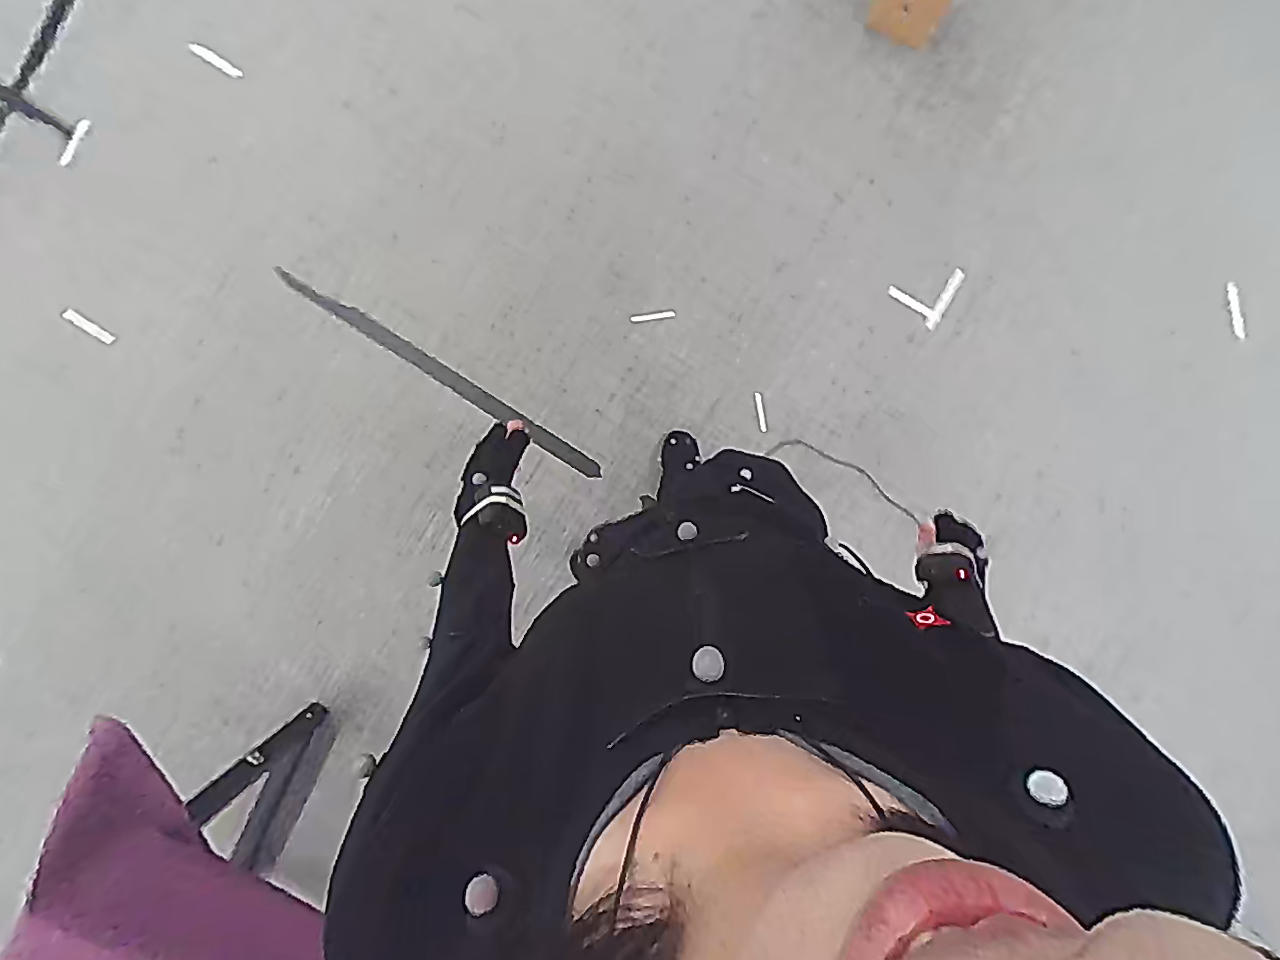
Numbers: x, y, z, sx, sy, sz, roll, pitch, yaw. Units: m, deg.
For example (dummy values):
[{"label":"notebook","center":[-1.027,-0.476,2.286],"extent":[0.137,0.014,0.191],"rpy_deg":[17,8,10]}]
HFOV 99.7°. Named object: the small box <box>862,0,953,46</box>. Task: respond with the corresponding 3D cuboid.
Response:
[{"label":"small box","center":[0.692,-1.241,1.348],"extent":[0.179,0.176,0.168],"rpy_deg":[23,93,0]}]
